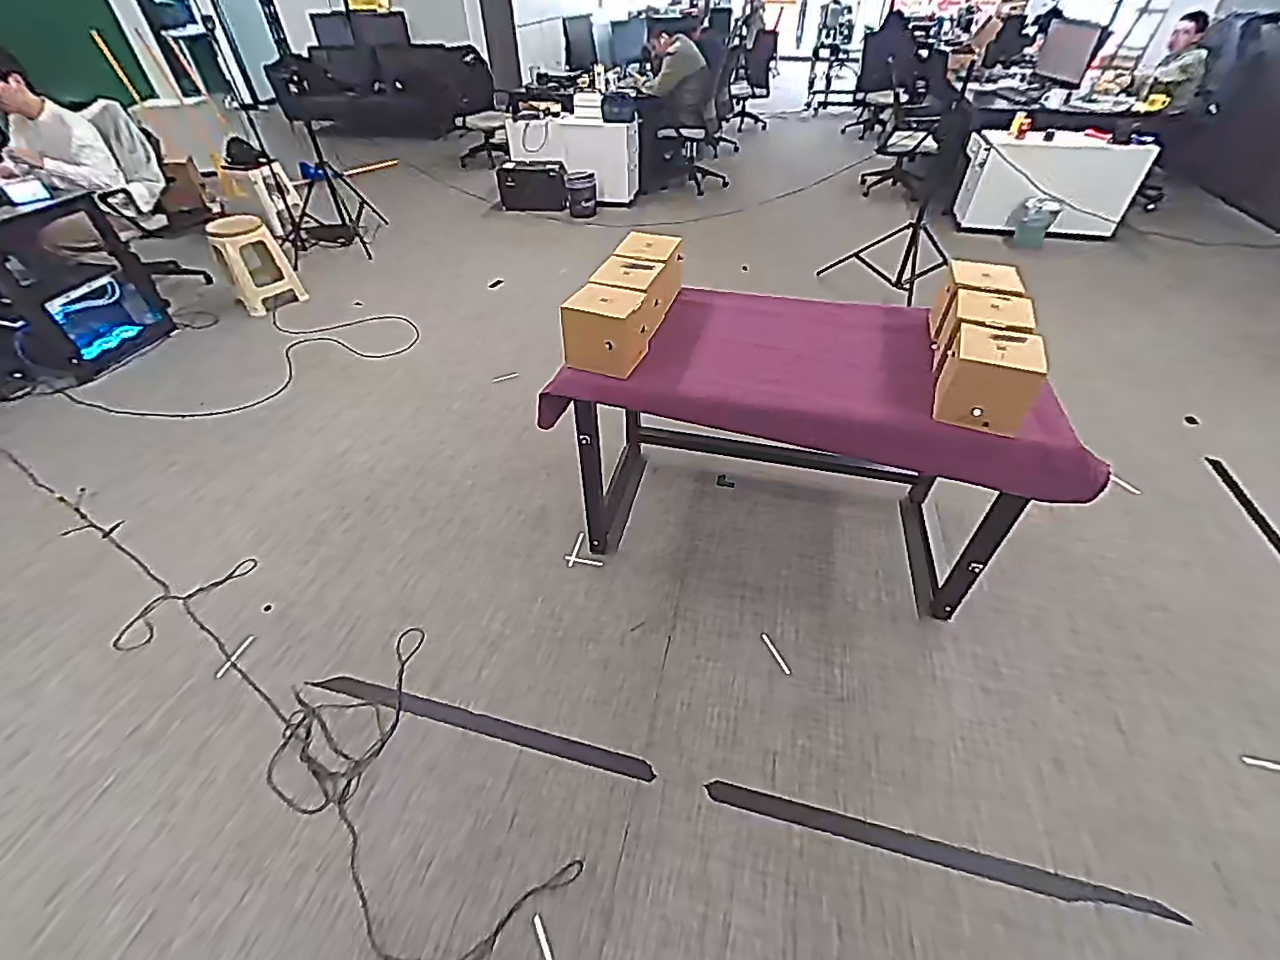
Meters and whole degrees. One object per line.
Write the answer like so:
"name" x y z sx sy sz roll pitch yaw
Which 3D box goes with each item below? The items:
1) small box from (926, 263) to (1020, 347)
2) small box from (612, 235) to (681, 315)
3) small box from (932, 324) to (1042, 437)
"small box" 0.911 -0.479 1.500 0.168 0.176 0.179 13 44 13
"small box" 0.020 -0.632 1.666 0.168 0.176 0.179 12 46 13
"small box" 0.786 -0.228 1.235 0.168 0.176 0.179 16 50 21
